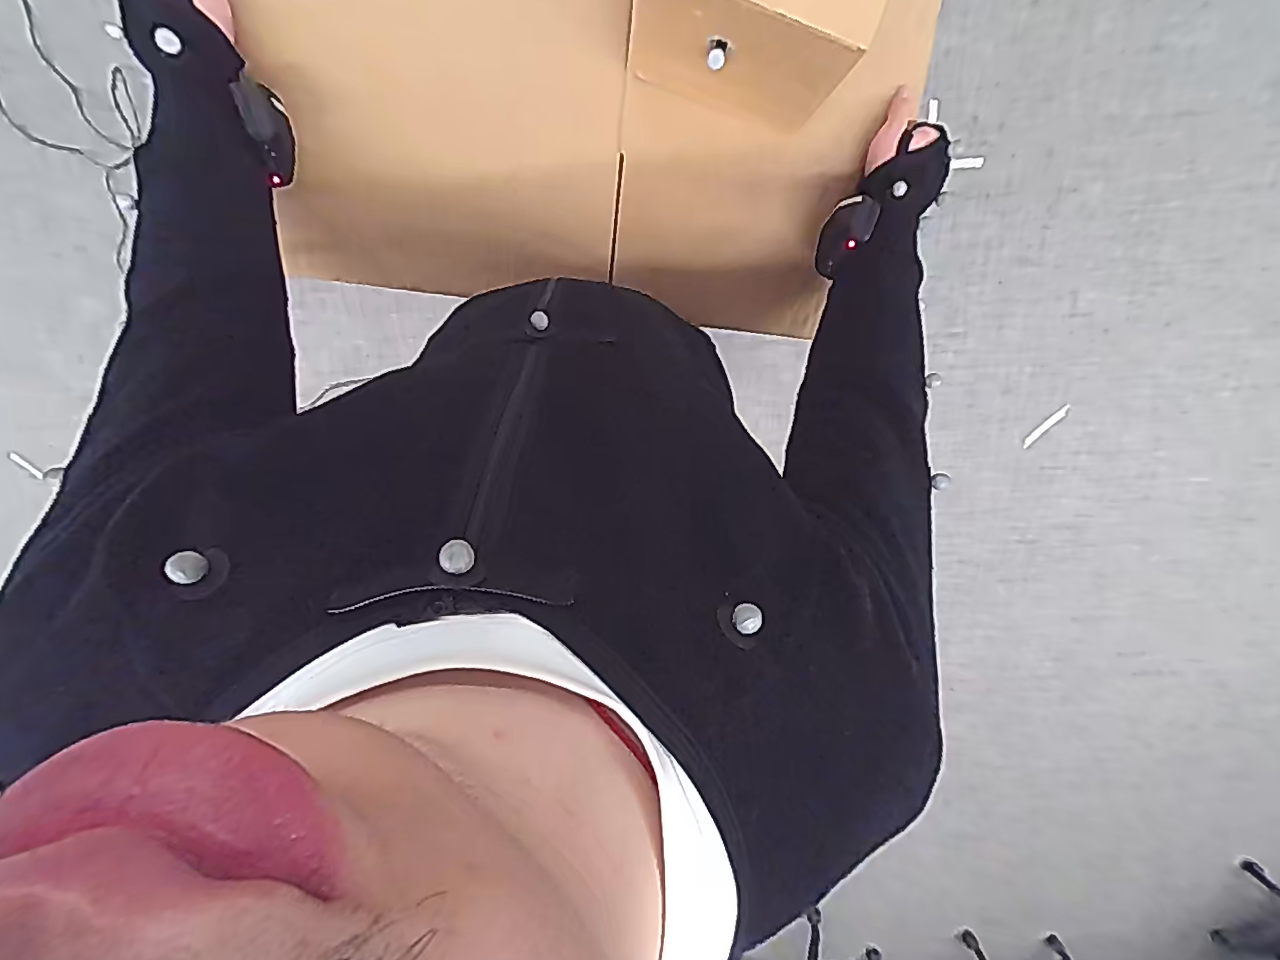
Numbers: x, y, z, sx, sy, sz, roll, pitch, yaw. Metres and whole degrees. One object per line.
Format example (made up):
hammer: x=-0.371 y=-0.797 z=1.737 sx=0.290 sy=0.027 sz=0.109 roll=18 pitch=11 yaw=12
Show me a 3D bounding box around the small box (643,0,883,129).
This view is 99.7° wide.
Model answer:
small box: x=0.106 y=-0.433 z=0.454 sx=0.179 sy=0.176 sz=0.168 roll=16 pitch=103 yaw=-6
